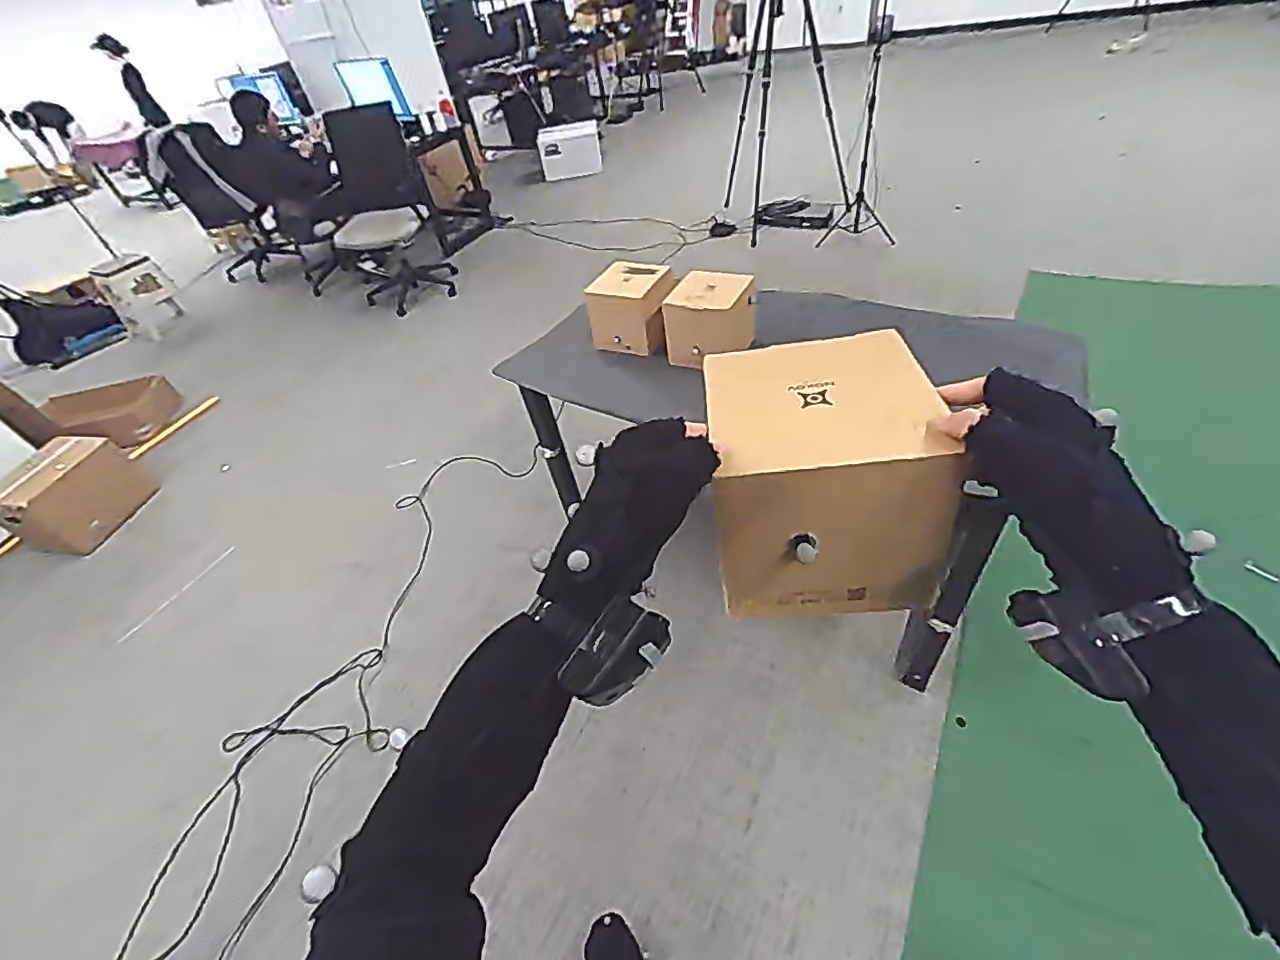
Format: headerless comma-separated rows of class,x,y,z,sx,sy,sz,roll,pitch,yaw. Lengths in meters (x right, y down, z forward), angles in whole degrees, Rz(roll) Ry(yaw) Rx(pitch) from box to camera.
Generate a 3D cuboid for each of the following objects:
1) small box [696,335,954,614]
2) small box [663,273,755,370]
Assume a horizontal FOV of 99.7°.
small box,0.140,0.001,0.464,0.168,0.176,0.179,-6,39,9
small box,0.171,-0.381,1.320,0.168,0.176,0.179,15,50,25
